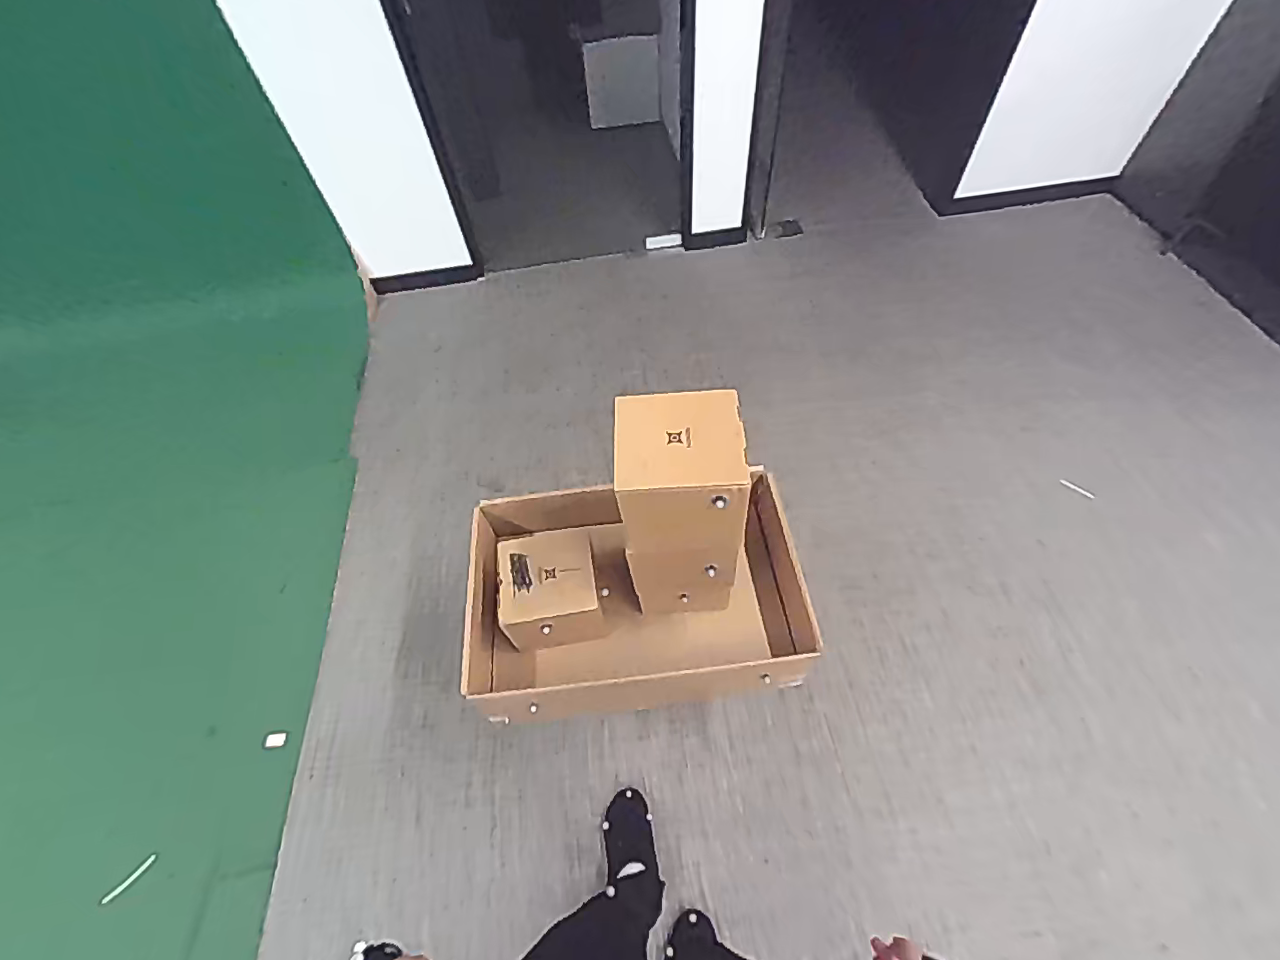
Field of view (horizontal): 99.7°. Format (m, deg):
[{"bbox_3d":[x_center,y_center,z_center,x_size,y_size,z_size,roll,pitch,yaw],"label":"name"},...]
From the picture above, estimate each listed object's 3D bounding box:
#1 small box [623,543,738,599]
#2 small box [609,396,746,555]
[{"bbox_3d":[0.065,0.092,0.919,0.179,0.176,0.168,-5,55,3],"label":"small box"},{"bbox_3d":[0.054,0.000,0.786,0.179,0.176,0.168,-4,55,3],"label":"small box"}]
